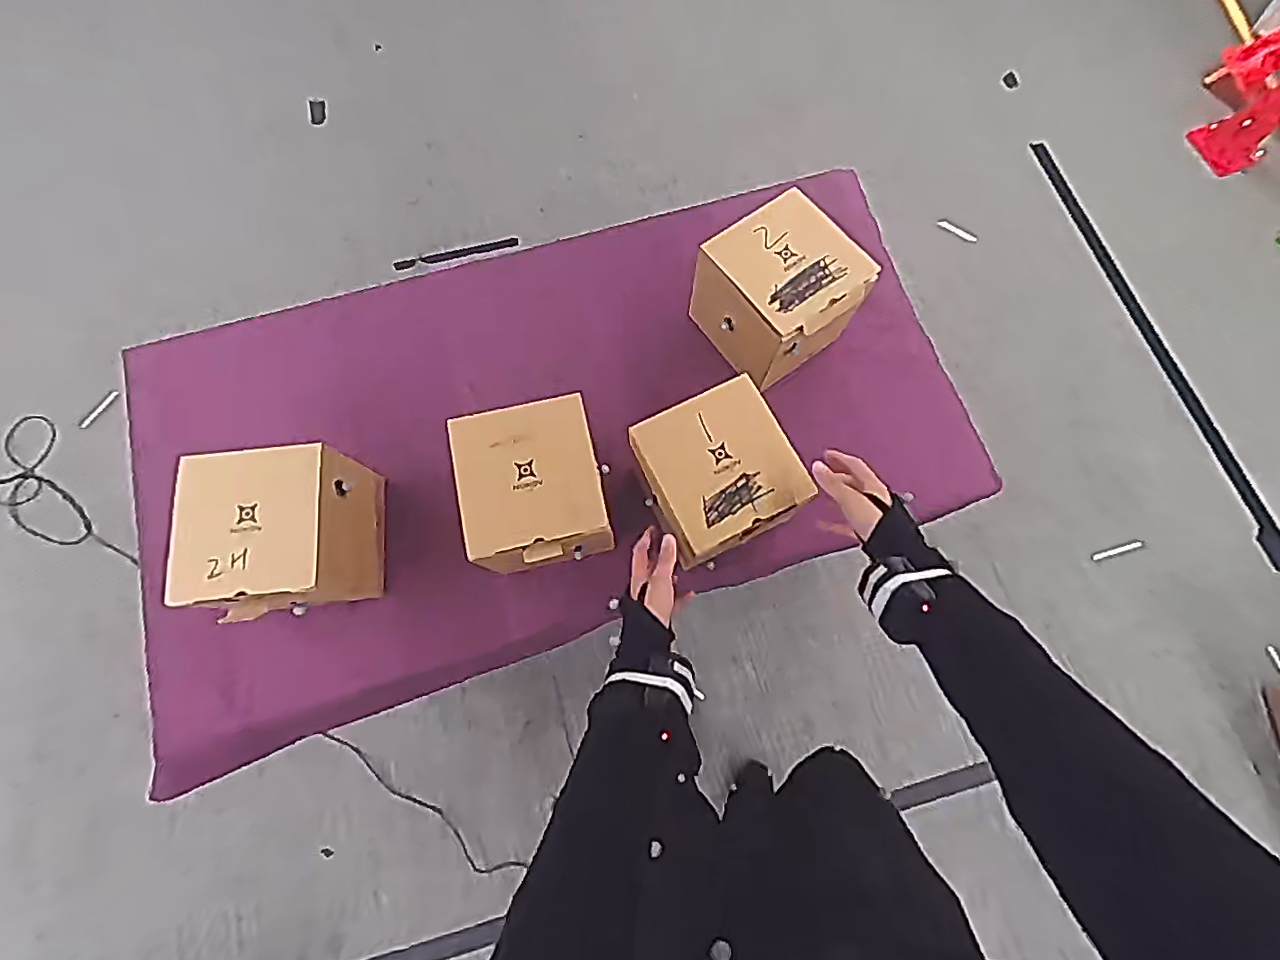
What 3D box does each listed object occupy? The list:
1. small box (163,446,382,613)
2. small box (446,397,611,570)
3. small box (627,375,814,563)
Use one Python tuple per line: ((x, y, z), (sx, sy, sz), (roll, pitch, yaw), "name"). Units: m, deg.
((-0.447, 0.071, 0.689), (0.168, 0.176, 0.179), (-6, 76, -2), "small box")
((-0.135, 0.016, 0.709), (0.168, 0.176, 0.179), (-13, 75, -5), "small box")
((0.094, -0.001, 0.713), (0.168, 0.176, 0.179), (-26, 76, -7), "small box")
